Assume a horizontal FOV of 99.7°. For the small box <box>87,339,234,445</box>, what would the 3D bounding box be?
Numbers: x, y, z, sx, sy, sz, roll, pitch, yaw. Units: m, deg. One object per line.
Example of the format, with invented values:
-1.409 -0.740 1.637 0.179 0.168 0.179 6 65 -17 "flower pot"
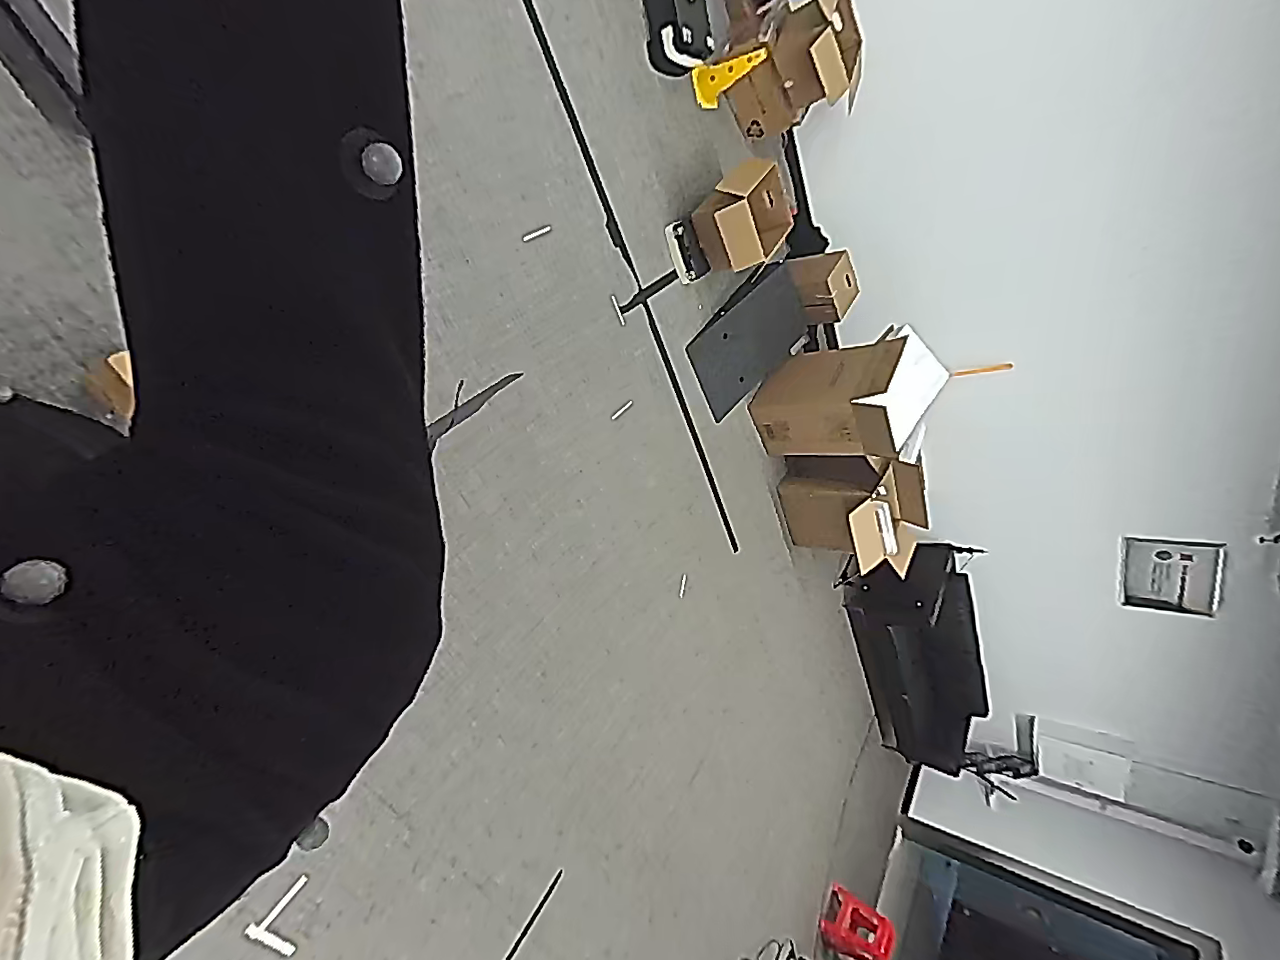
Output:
-1.060 -0.192 1.195 0.179 0.176 0.168 -48 125 -36 "small box"
